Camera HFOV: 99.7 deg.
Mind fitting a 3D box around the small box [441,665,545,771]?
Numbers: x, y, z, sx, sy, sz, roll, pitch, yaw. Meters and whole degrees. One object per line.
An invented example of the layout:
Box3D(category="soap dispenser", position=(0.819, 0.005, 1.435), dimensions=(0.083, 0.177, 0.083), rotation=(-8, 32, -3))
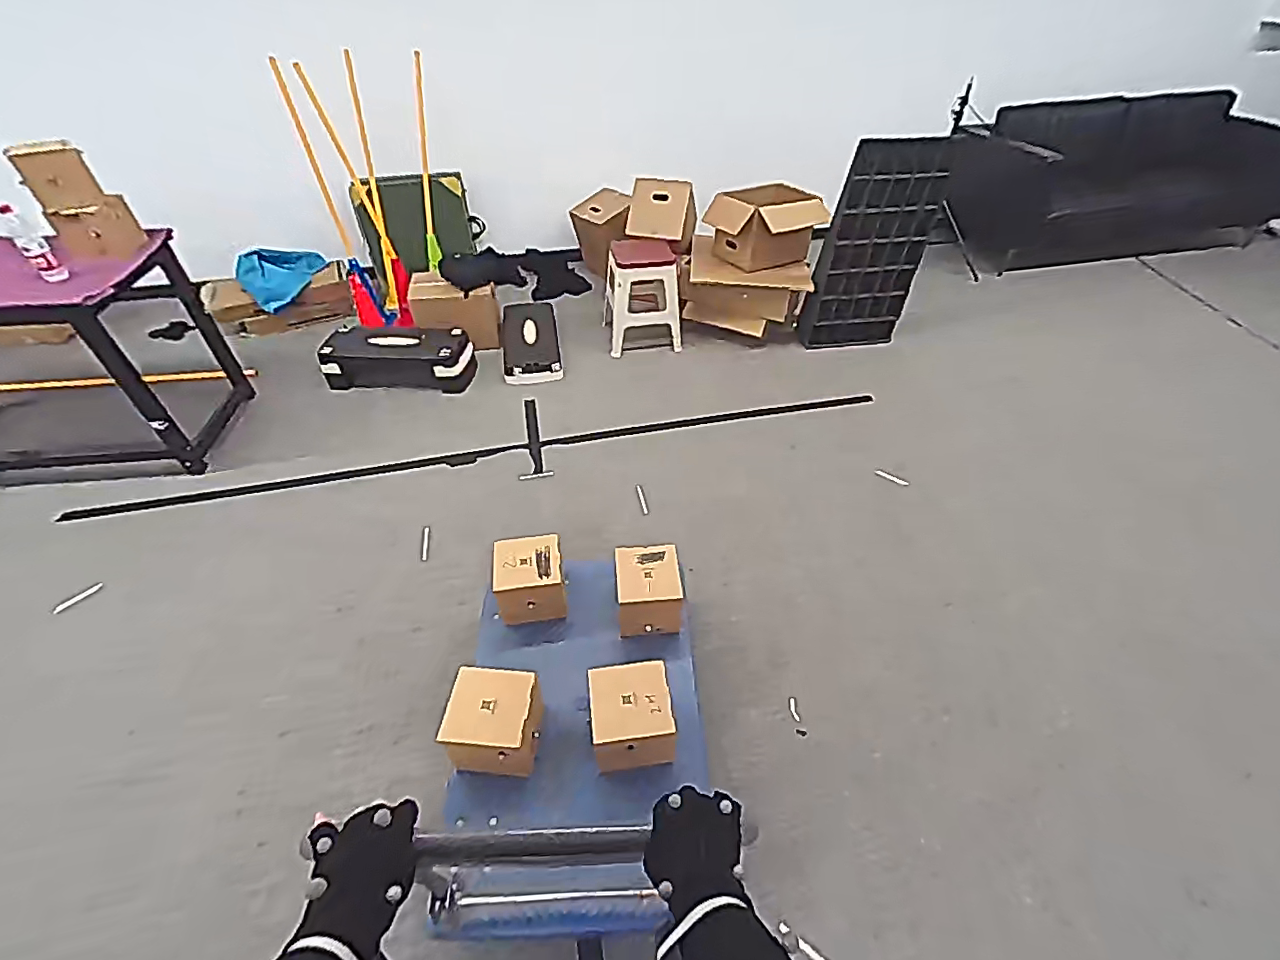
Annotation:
Box3D(category="small box", position=(-0.322, 0.541, 1.225), dimensions=(0.179, 0.176, 0.168), rotation=(4, 44, 2))

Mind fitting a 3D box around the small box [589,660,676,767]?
Box3D(category="small box", position=(-0.019, 0.535, 1.235), dimensions=(0.179, 0.176, 0.168), rotation=(-5, 44, -6))

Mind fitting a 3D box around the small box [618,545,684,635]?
Box3D(category="small box", position=(0.024, 0.300, 1.477), dimensions=(0.168, 0.176, 0.179), rotation=(-3, 45, -4))
